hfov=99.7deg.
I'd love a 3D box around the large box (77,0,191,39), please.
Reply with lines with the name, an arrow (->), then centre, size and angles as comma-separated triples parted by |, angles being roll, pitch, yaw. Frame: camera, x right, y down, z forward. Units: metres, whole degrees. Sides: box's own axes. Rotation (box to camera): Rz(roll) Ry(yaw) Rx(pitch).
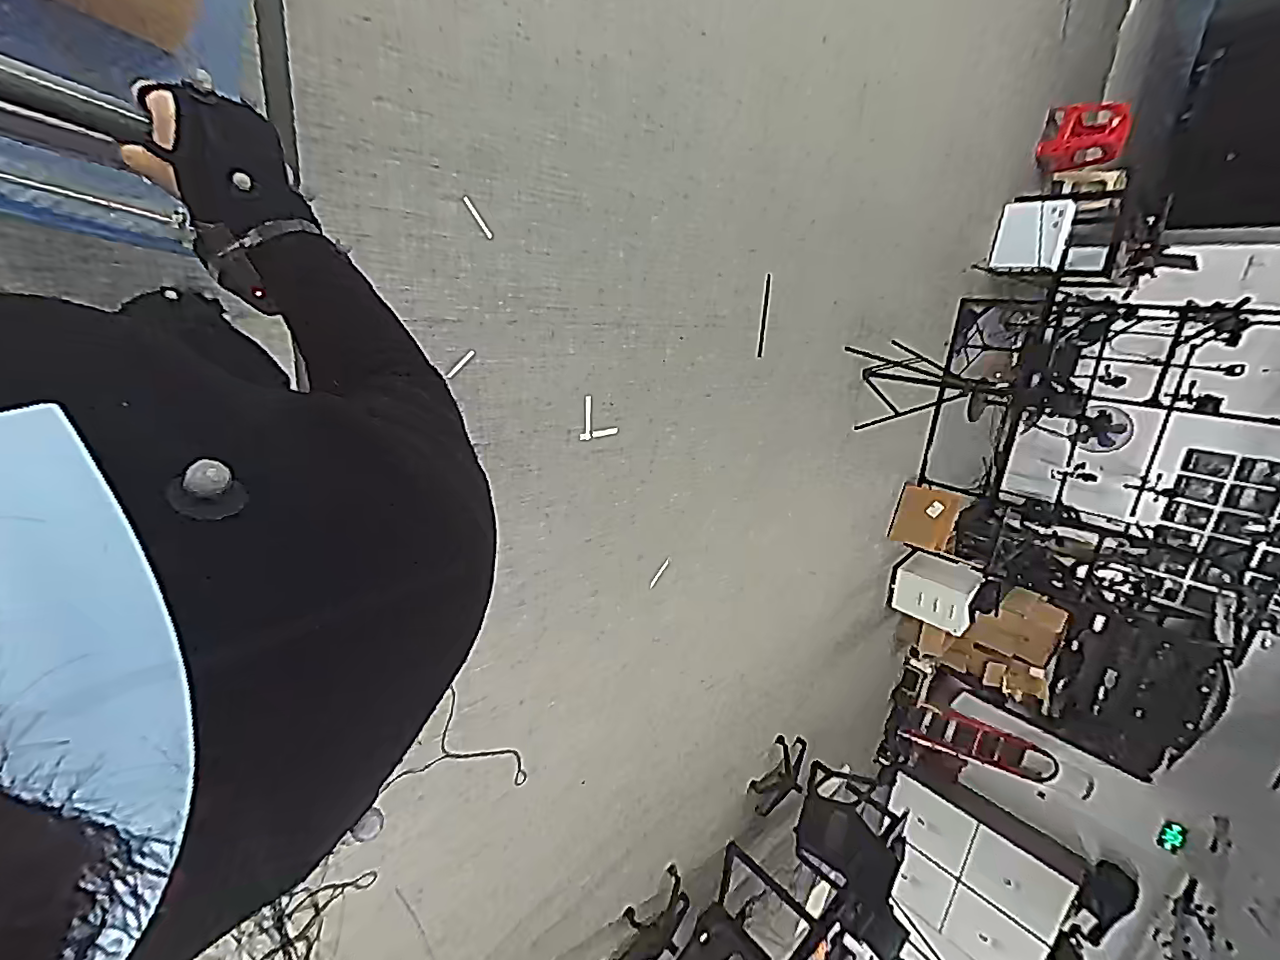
large box -> -0.779, -0.826, 0.626 | 0.408, 0.320, 0.320 | 2, 104, -45
